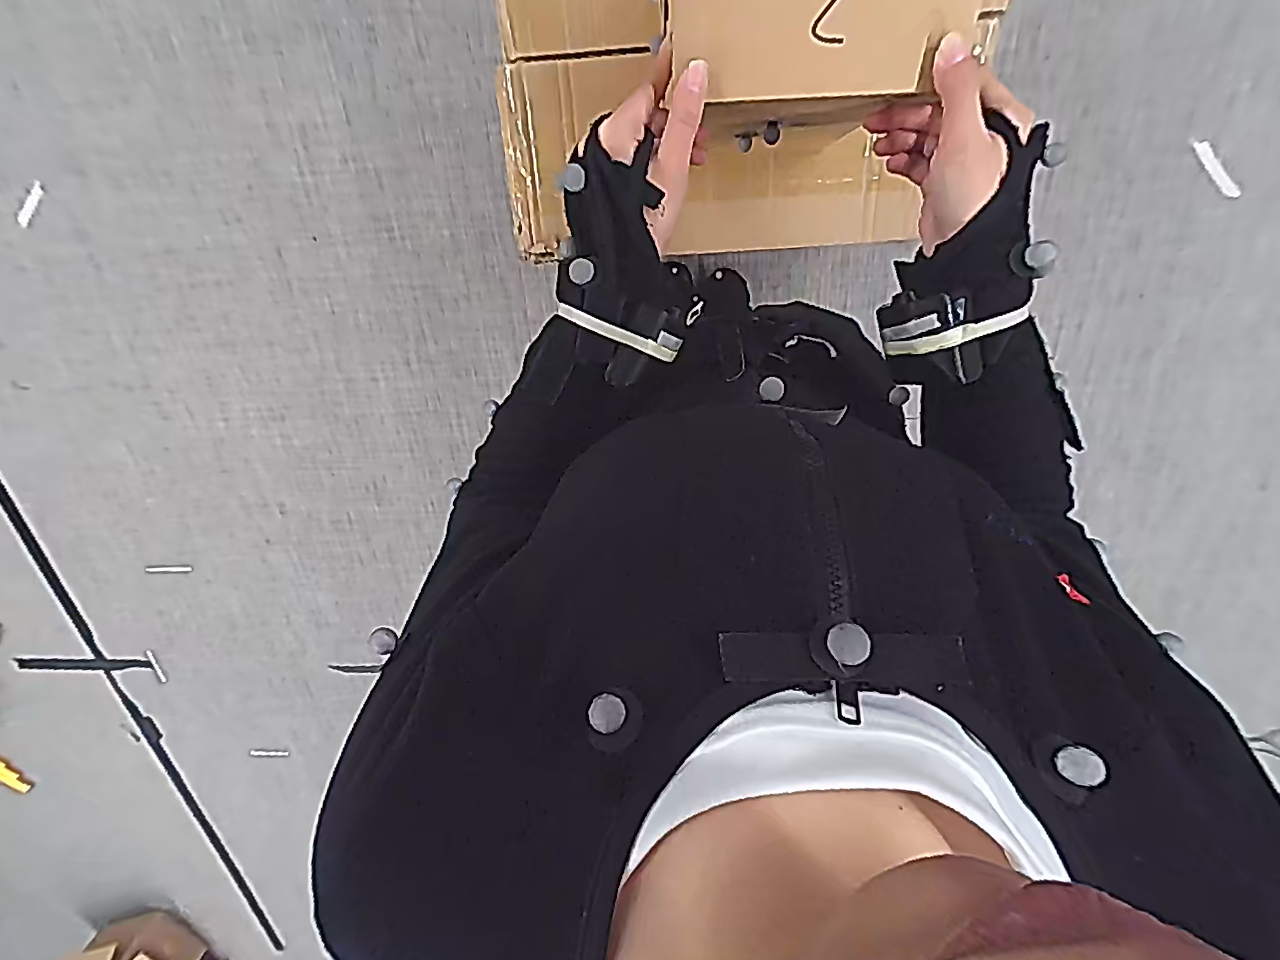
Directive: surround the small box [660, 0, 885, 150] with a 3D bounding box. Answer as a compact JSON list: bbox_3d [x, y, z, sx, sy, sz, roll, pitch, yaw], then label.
[{"bbox_3d":[0.109,-0.410,0.493,0.179,0.176,0.168,0,114,4],"label":"small box"}]
